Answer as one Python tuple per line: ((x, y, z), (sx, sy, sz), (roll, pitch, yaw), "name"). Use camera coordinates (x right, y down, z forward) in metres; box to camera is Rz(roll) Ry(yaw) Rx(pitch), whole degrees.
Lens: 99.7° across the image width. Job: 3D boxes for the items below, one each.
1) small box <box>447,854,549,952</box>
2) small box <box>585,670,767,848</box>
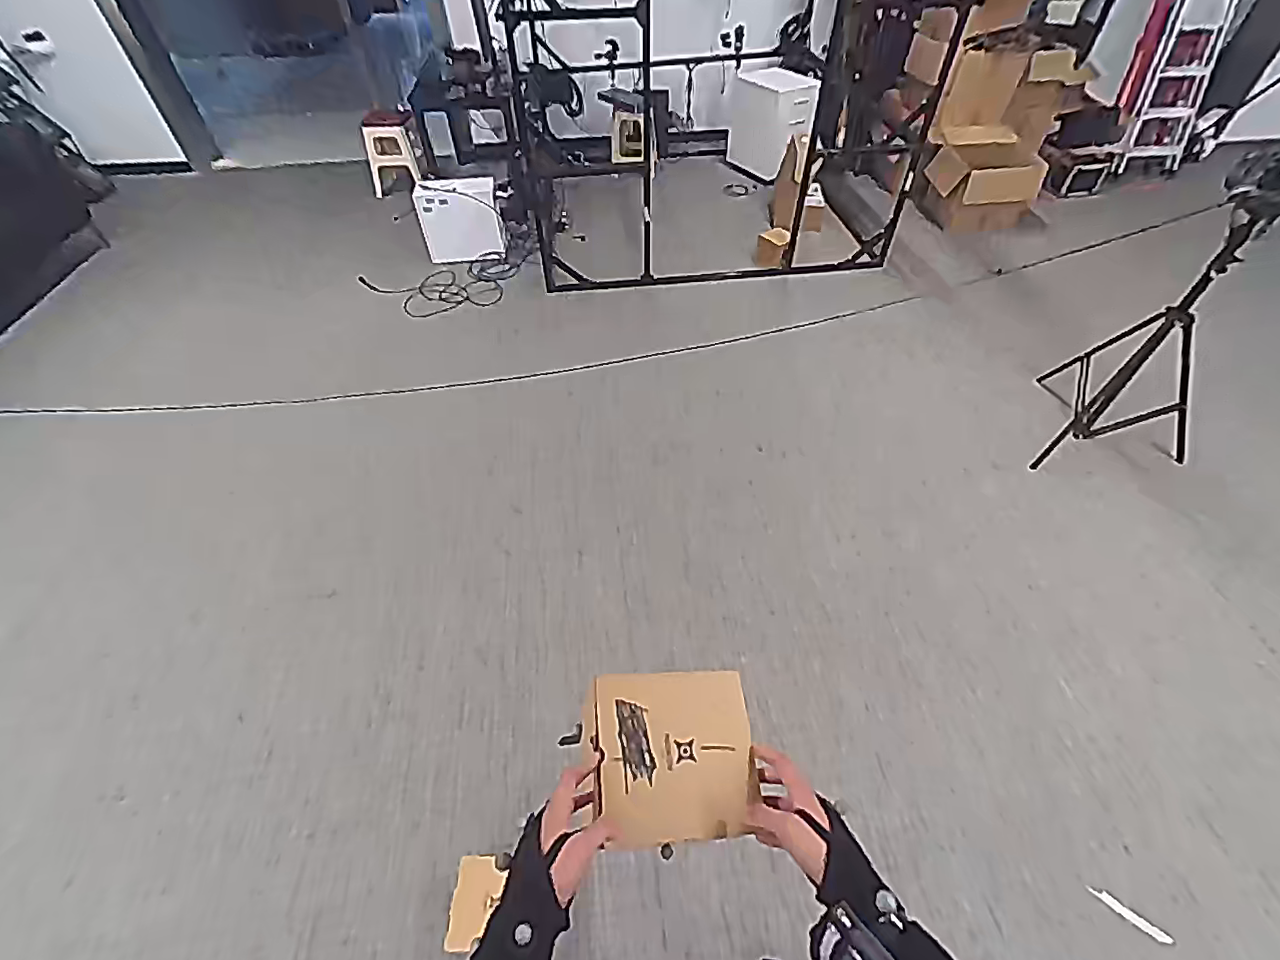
((-0.311, 0.961, 1.229), (0.179, 0.176, 0.168), (-1, 49, 2), "small box")
((0.026, 0.336, 0.648), (0.179, 0.176, 0.168), (3, 55, -12), "small box")
